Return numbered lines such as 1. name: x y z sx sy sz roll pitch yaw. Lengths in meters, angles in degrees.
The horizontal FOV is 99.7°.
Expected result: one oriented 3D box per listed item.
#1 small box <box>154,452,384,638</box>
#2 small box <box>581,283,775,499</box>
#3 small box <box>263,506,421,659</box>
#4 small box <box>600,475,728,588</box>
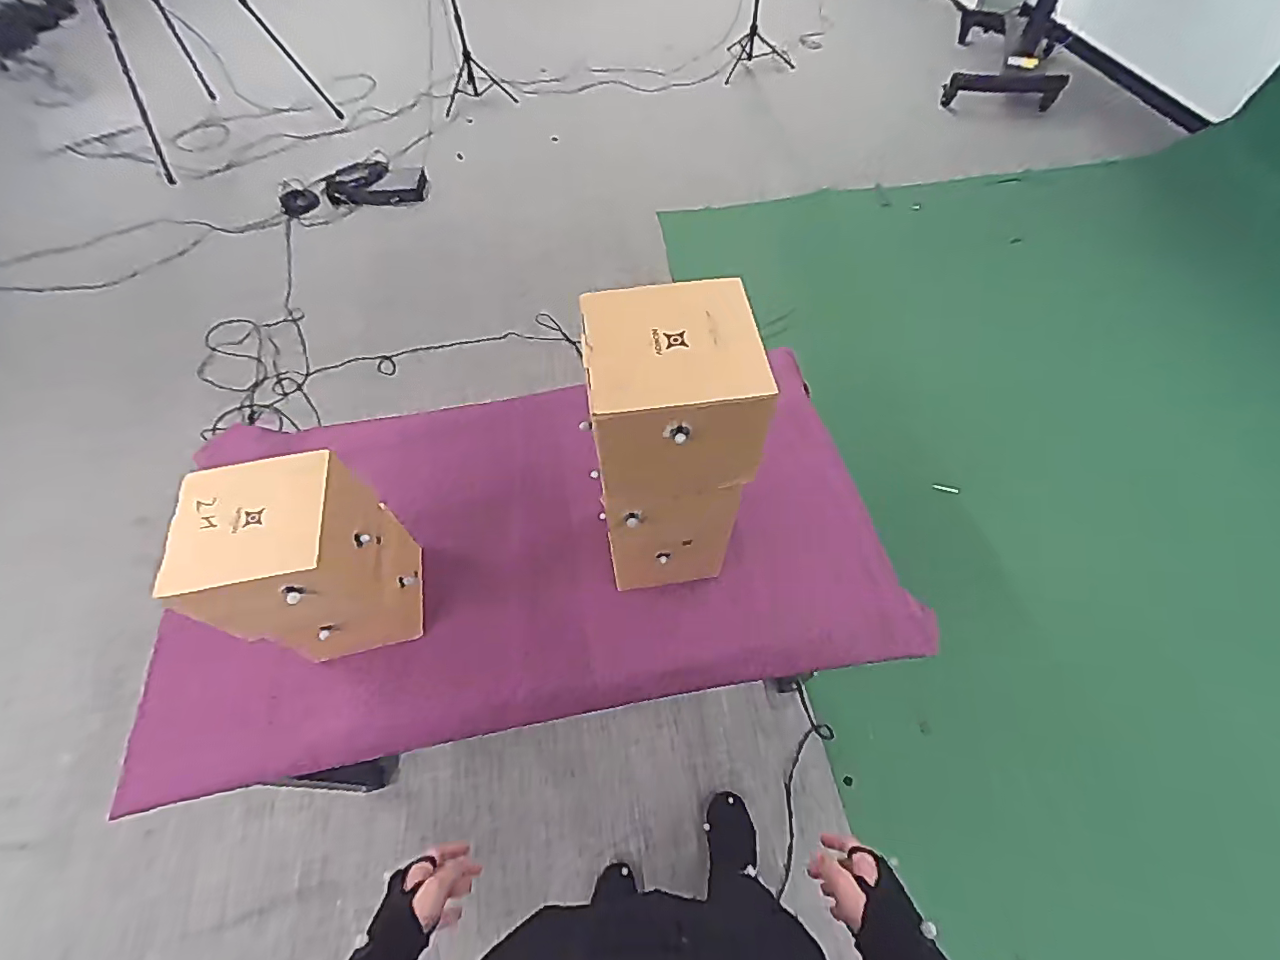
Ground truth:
1. small box: -0.450 0.088 0.694 0.179 0.176 0.168 -11 58 -5
2. small box: 0.034 -0.091 0.602 0.179 0.176 0.168 -6 59 -3
3. small box: -0.452 0.163 0.842 0.179 0.176 0.168 -12 59 -6
4. small box: 0.035 0.067 0.889 0.179 0.176 0.168 -8 58 -4
